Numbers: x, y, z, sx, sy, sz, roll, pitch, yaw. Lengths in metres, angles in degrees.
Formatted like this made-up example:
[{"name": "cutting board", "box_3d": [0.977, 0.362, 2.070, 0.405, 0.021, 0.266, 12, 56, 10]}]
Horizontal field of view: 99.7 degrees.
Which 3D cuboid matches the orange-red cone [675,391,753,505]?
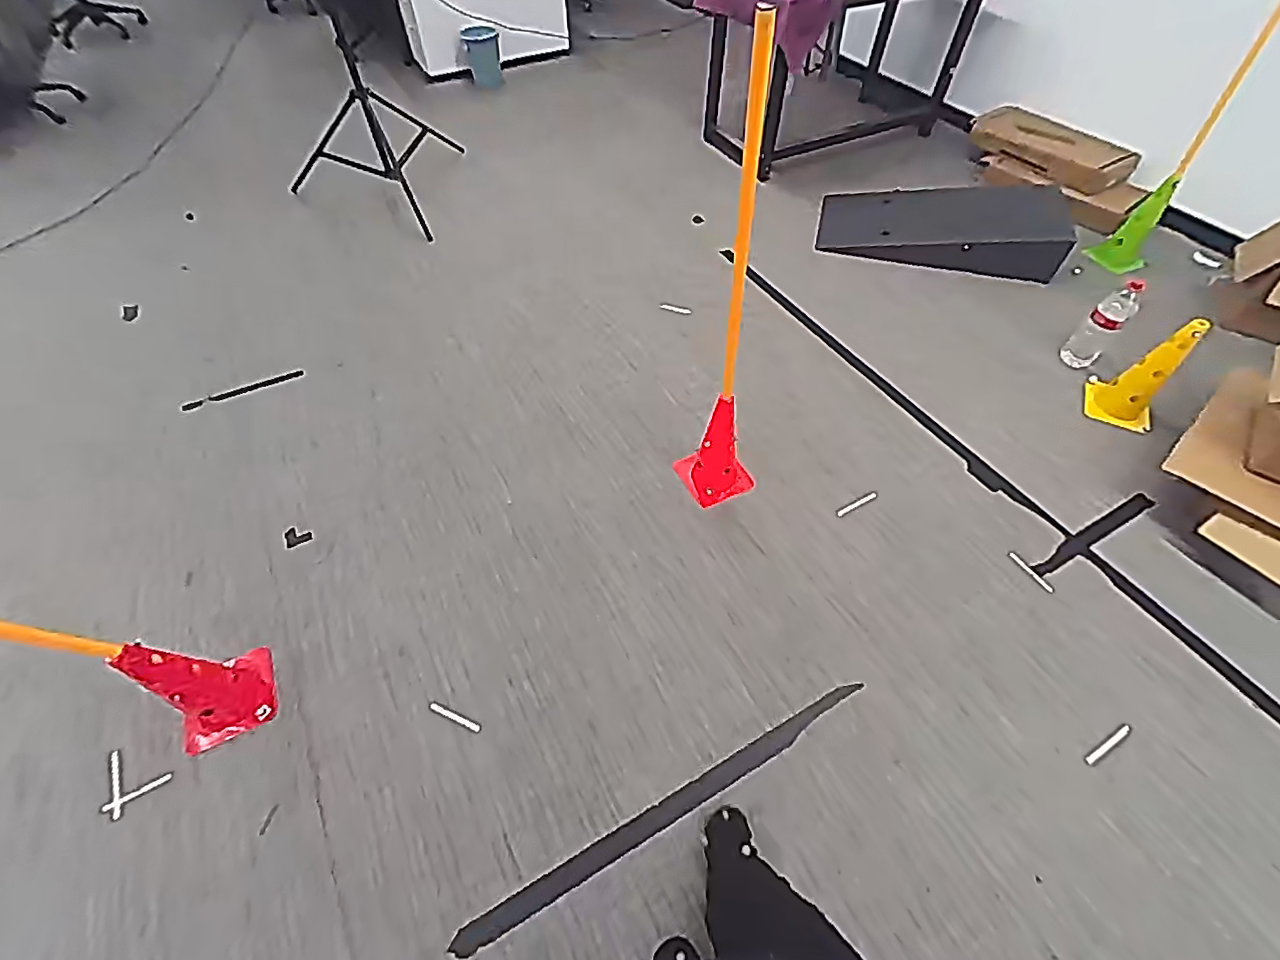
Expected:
[{"name": "orange-red cone", "box_3d": [0.231, -0.121, 1.564, 0.199, 0.360, 0.198, -21, 57, -15]}]
